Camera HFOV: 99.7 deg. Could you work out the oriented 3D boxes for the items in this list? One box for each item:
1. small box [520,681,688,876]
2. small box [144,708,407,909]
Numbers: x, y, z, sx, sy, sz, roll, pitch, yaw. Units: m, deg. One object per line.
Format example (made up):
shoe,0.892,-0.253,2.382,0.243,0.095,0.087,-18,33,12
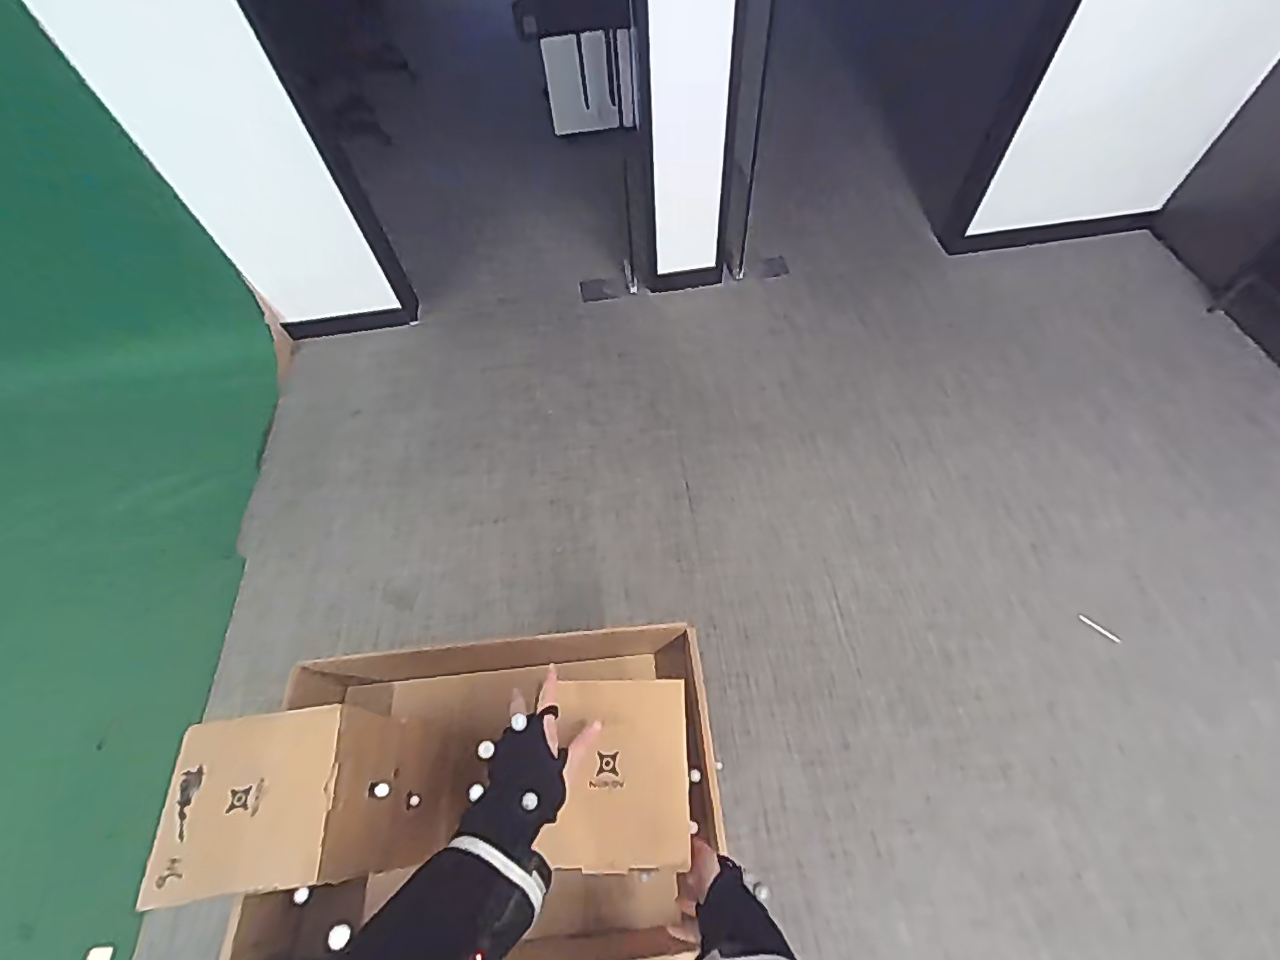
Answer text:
small box,-0.028,0.339,0.621,0.168,0.176,0.179,-1,57,2
small box,-0.393,0.373,0.627,0.179,0.176,0.168,-7,57,-1
